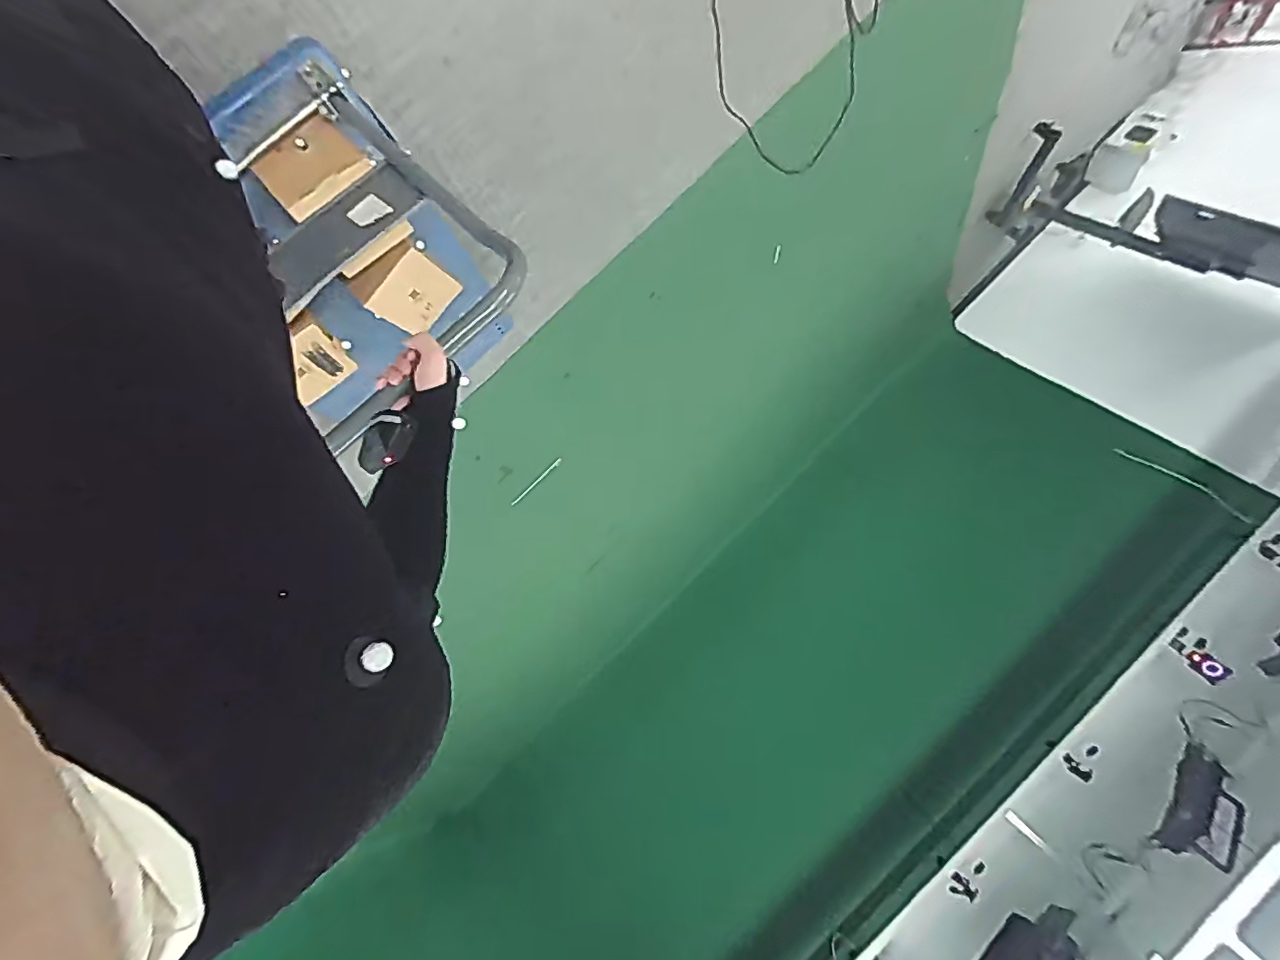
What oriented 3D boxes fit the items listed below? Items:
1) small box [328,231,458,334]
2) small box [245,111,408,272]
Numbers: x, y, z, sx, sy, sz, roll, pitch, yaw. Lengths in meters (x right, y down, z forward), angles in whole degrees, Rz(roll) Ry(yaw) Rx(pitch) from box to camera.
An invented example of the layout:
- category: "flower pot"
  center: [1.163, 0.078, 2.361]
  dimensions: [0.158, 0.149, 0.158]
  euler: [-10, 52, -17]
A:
- category: "small box"
  center: [-0.561, -0.472, 1.227]
  dimensions: [0.168, 0.176, 0.179]
  euler: [-46, 161, 6]
- category: "small box"
  center: [-0.589, -0.545, 1.027]
  dimensions: [0.168, 0.176, 0.179]
  euler: [-41, 161, -9]
